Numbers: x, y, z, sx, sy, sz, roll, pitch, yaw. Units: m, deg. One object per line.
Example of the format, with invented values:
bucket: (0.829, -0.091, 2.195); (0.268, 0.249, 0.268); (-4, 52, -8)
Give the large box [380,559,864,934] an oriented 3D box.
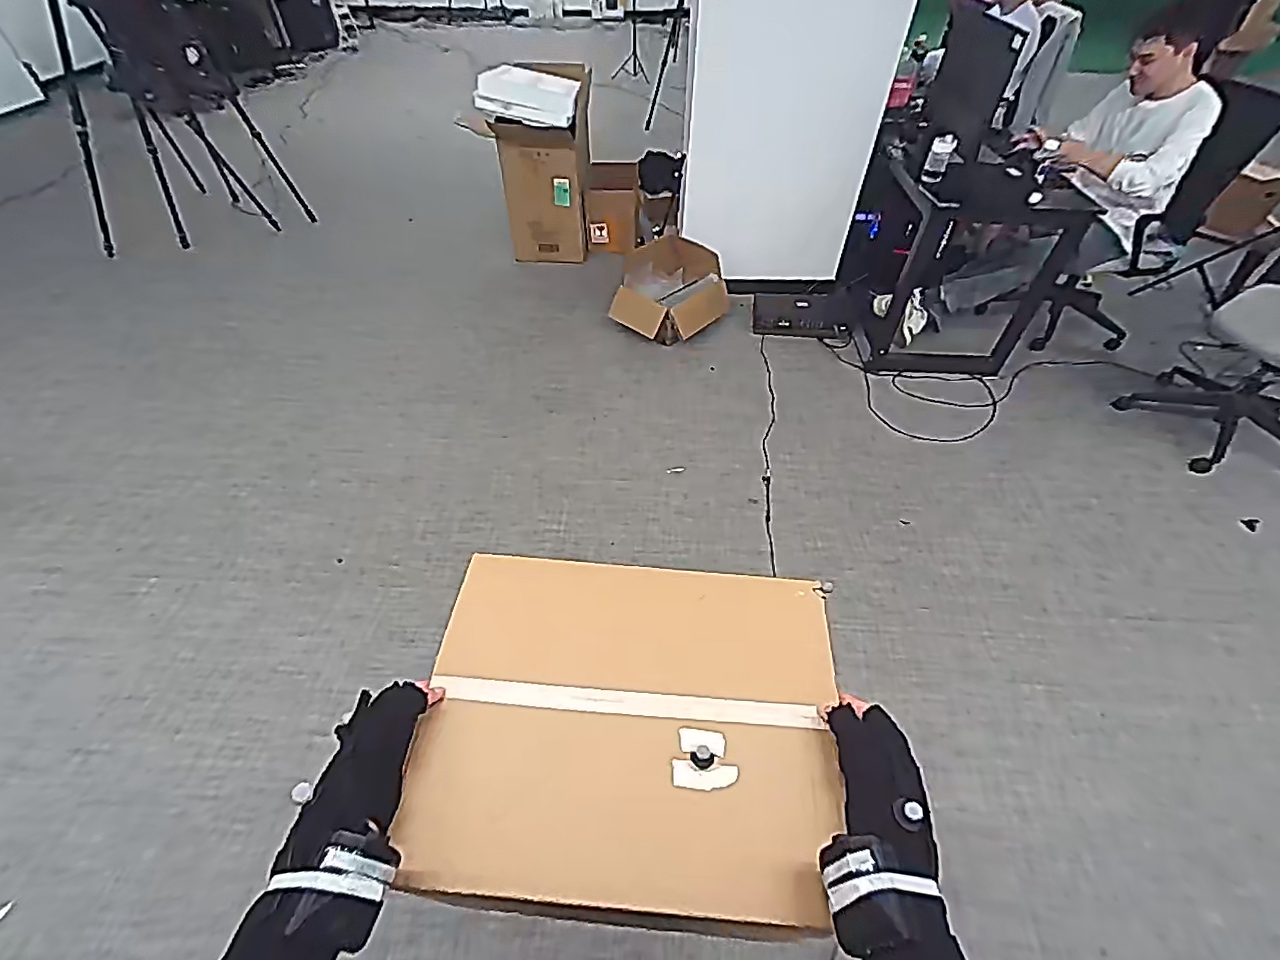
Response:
large box: (-0.013, 0.319, 0.644); (0.408, 0.320, 0.320); (5, 49, 1)
